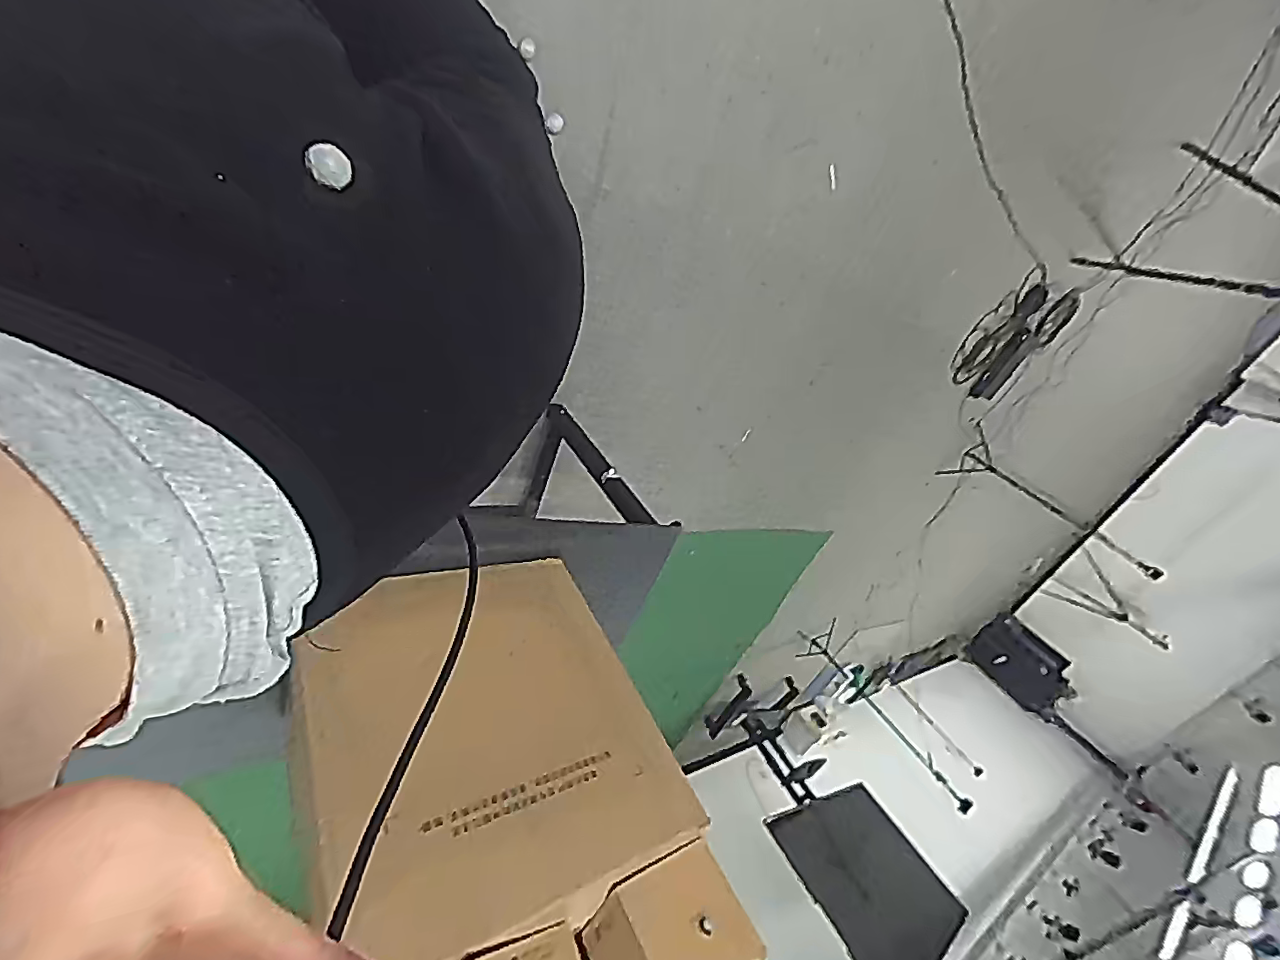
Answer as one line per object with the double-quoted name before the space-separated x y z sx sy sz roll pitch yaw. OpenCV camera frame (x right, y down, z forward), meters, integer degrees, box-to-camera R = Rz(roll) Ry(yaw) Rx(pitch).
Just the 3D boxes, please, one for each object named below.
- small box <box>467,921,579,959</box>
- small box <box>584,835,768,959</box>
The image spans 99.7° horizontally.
"small box" -0.160 0.681 0.643 0.179 0.176 0.168 -50 139 11
"small box" 0.046 0.675 0.802 0.179 0.176 0.168 -3 127 -39
